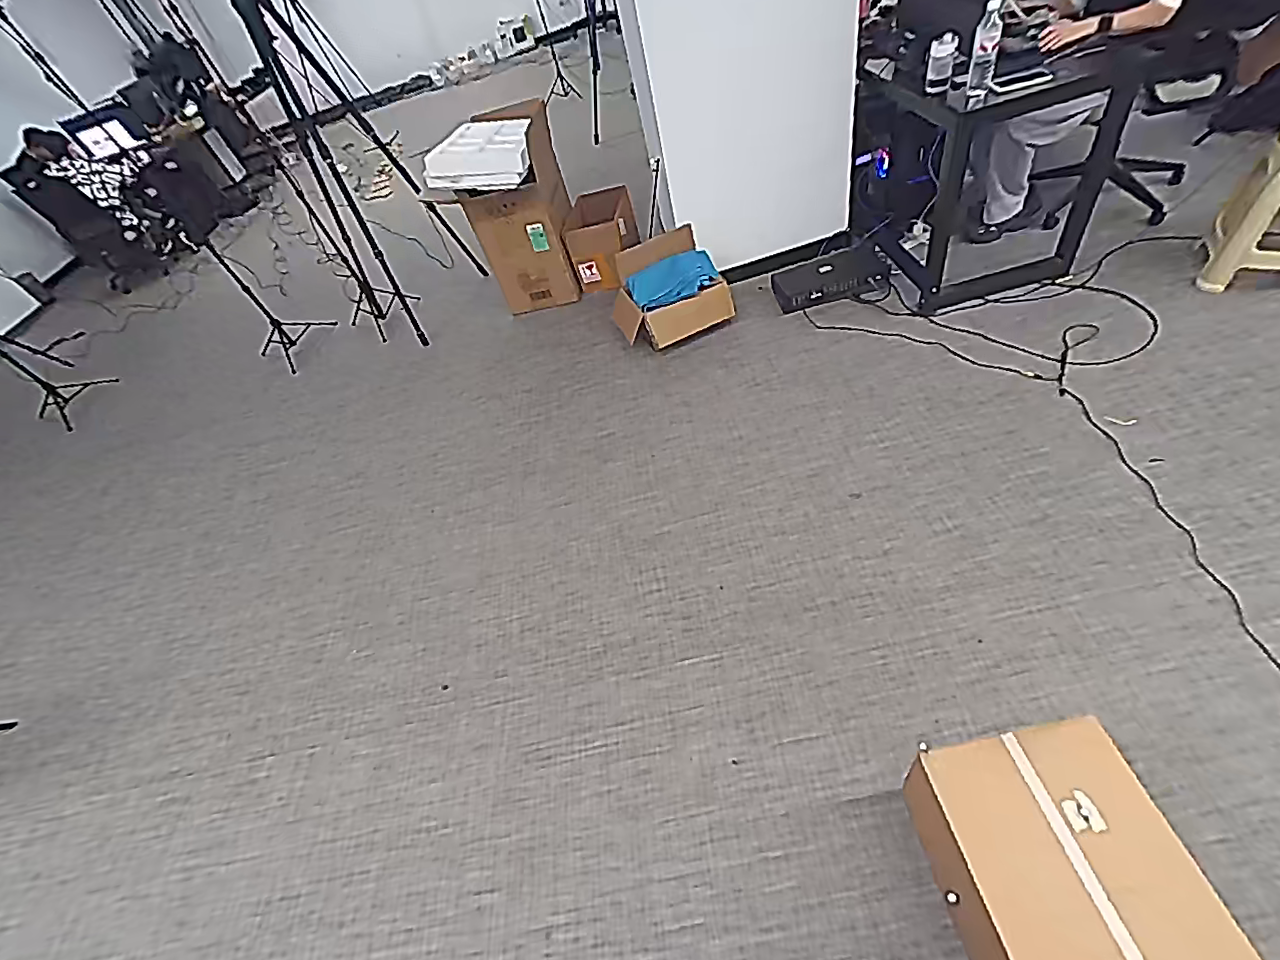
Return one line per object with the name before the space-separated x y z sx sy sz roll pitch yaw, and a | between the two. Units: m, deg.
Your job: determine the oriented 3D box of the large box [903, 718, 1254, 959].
large box | 0.723 0.709 0.961 0.320 0.320 0.408 -15 46 4
